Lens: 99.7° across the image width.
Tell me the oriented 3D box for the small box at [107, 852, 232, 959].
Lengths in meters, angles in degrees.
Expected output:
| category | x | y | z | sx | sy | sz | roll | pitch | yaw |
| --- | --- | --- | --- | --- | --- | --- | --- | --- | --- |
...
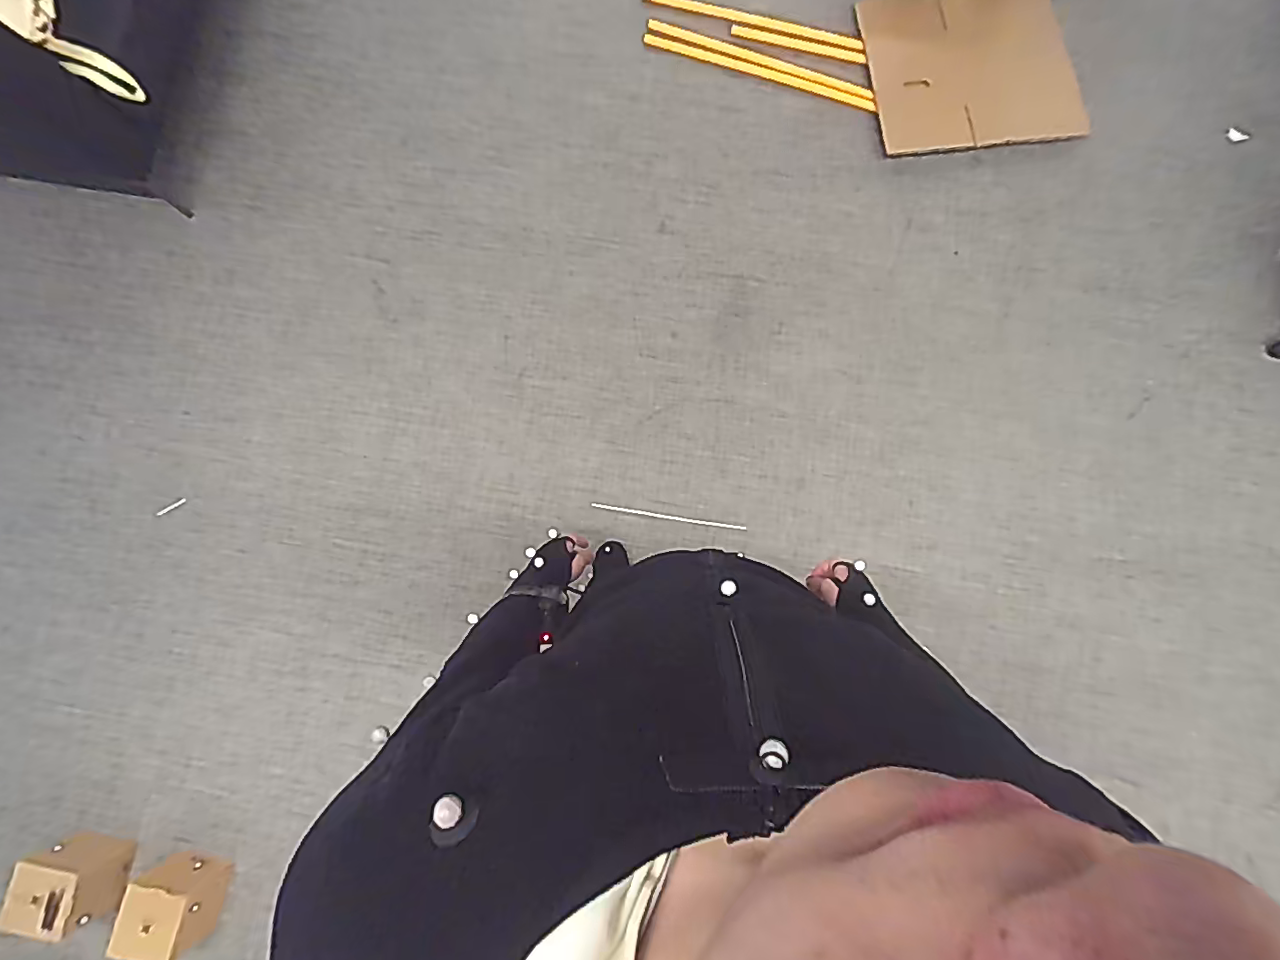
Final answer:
| category | x | y | z | sx | sy | sz | roll | pitch | yaw |
| --- | --- | --- | --- | --- | --- | --- | --- | --- | --- |
| small box | -1.253 | 1.154 | 1.455 | 0.168 | 0.176 | 0.179 | 11 | 81 | 3 |
